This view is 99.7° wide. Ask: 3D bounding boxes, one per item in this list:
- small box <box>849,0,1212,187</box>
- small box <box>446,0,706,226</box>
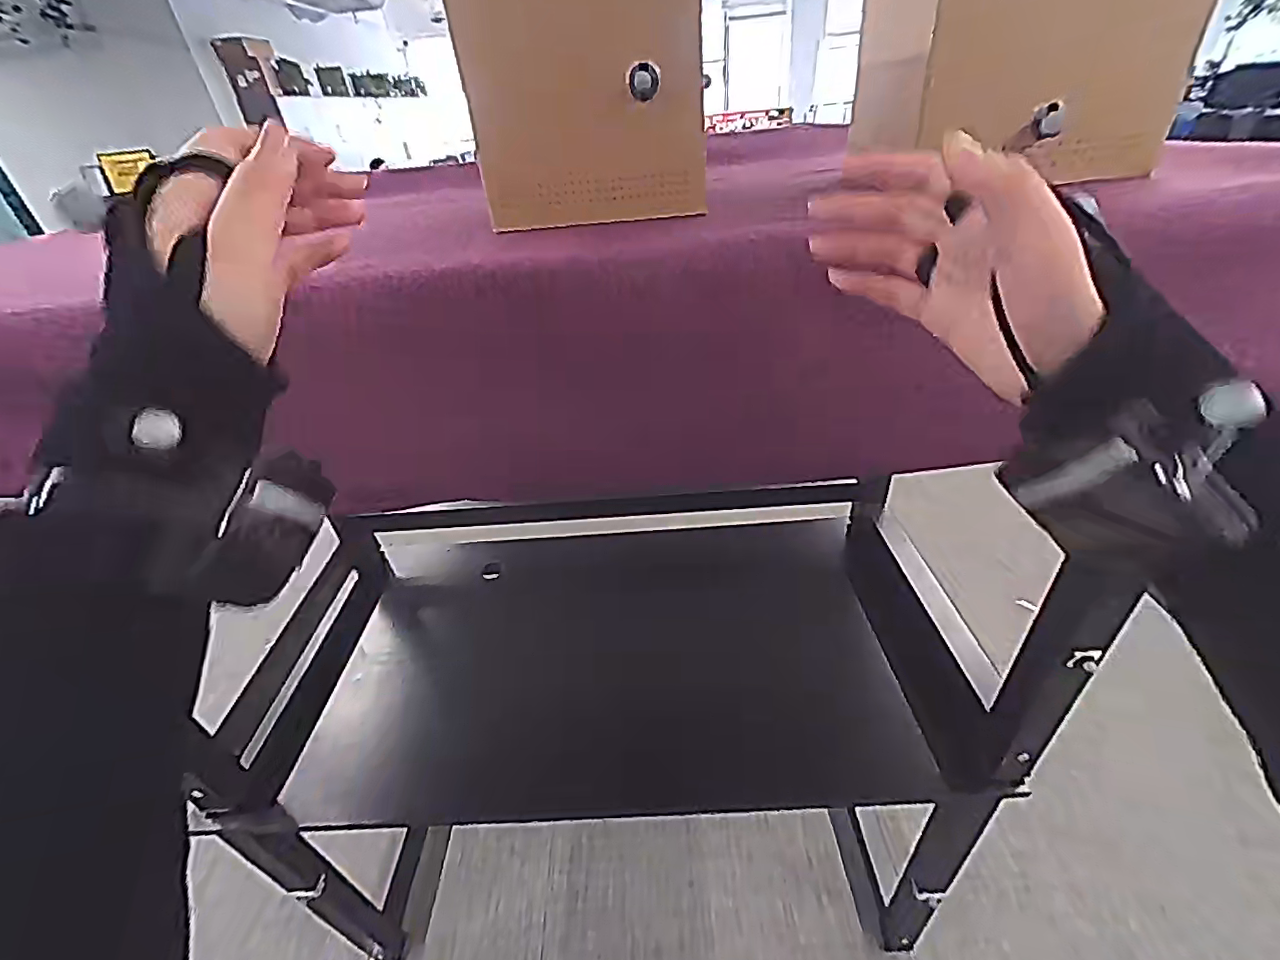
[{"bbox_3d":[0.278,-0.333,0.411,0.179,0.176,0.168,-3,34,4],"label":"small box"},{"bbox_3d":[-0.036,-0.322,0.451,0.179,0.176,0.168,-4,34,4],"label":"small box"}]
